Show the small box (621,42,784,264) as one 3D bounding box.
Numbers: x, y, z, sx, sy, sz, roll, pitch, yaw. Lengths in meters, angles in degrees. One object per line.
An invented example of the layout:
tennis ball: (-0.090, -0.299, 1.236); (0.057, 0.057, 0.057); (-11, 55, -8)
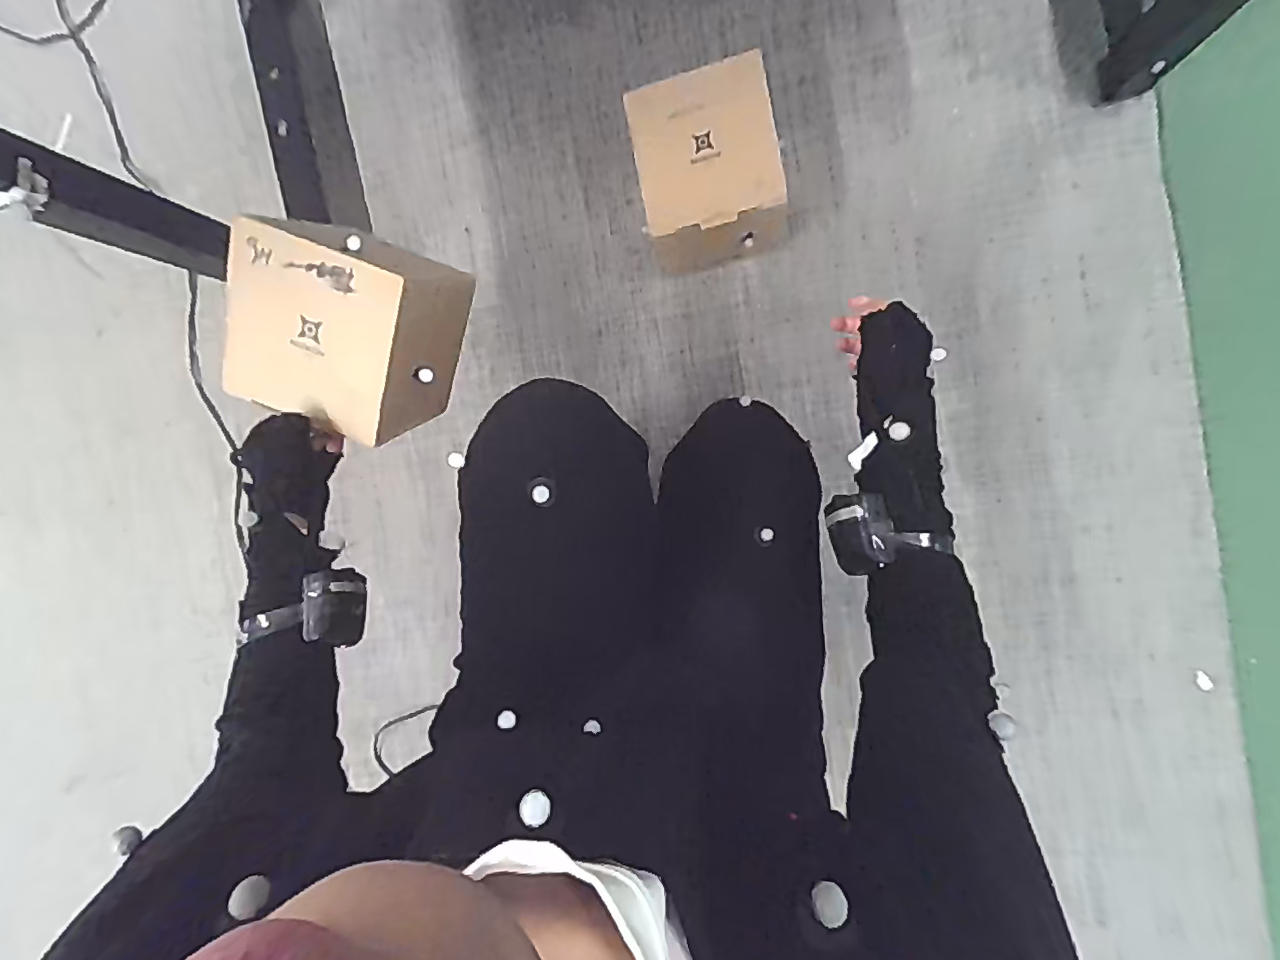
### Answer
small box: (0.087, -0.402, 0.707); (0.168, 0.176, 0.179); (-12, 90, 11)
